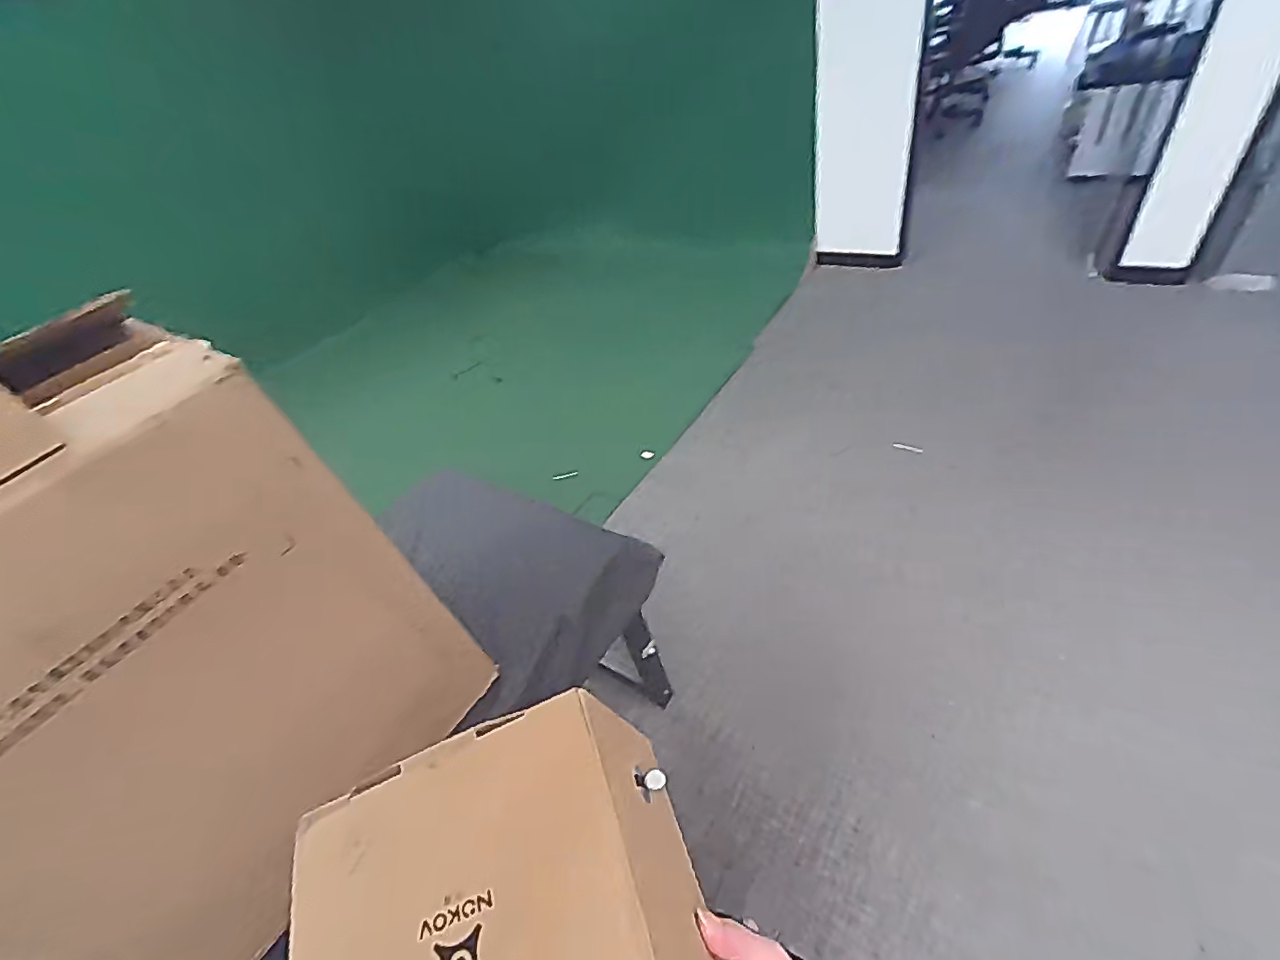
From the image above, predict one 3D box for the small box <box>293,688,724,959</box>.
[{"bbox_3d":[-0.059,0.249,0.302,0.168,0.176,0.179,-25,54,0],"label":"small box"}]
